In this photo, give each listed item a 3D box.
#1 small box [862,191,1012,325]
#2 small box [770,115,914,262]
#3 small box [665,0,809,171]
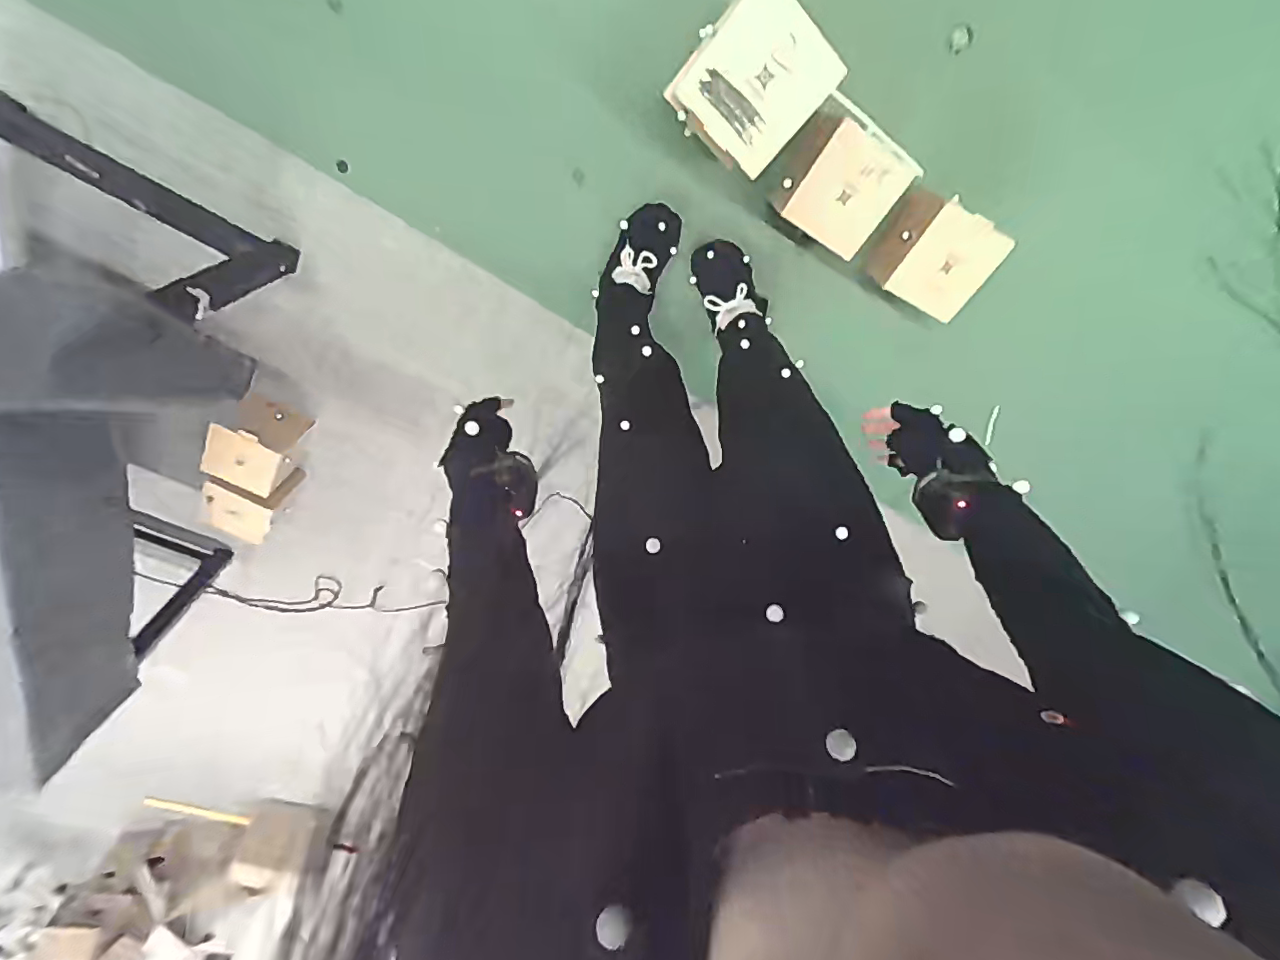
[{"bbox_3d":[0.581,-0.450,1.086,0.168,0.176,0.179,24,123,-14],"label":"small box"},{"bbox_3d":[0.364,-0.551,1.018,0.168,0.176,0.179,26,122,-17],"label":"small box"},{"bbox_3d":[0.157,-0.678,0.933,0.168,0.176,0.179,38,120,-22],"label":"small box"}]
